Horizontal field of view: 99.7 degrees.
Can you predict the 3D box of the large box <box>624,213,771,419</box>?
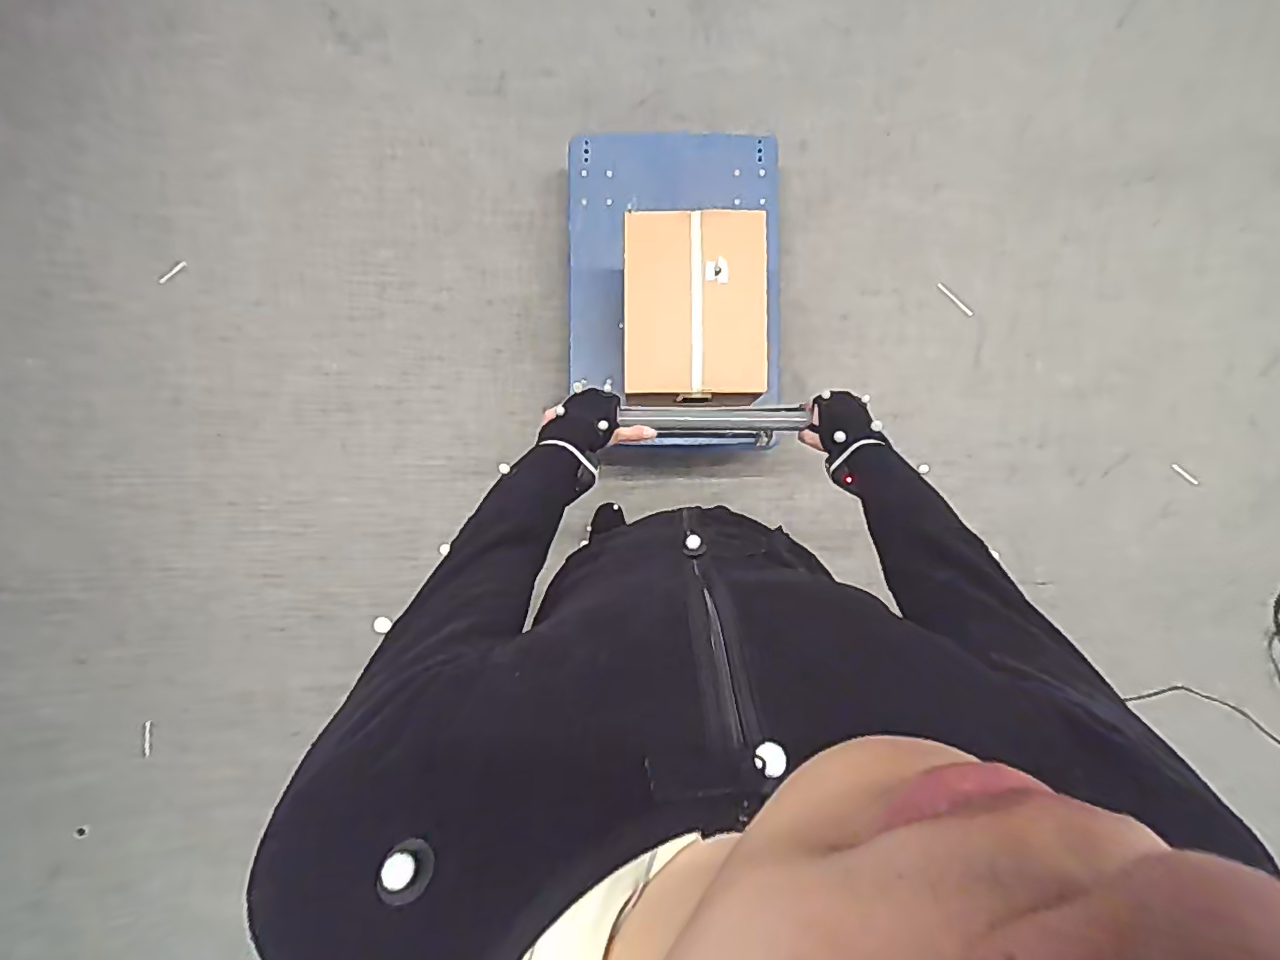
[{"bbox_3d":[0.125,-0.372,1.314,0.320,0.320,0.408,0,87,-1],"label":"large box"}]
